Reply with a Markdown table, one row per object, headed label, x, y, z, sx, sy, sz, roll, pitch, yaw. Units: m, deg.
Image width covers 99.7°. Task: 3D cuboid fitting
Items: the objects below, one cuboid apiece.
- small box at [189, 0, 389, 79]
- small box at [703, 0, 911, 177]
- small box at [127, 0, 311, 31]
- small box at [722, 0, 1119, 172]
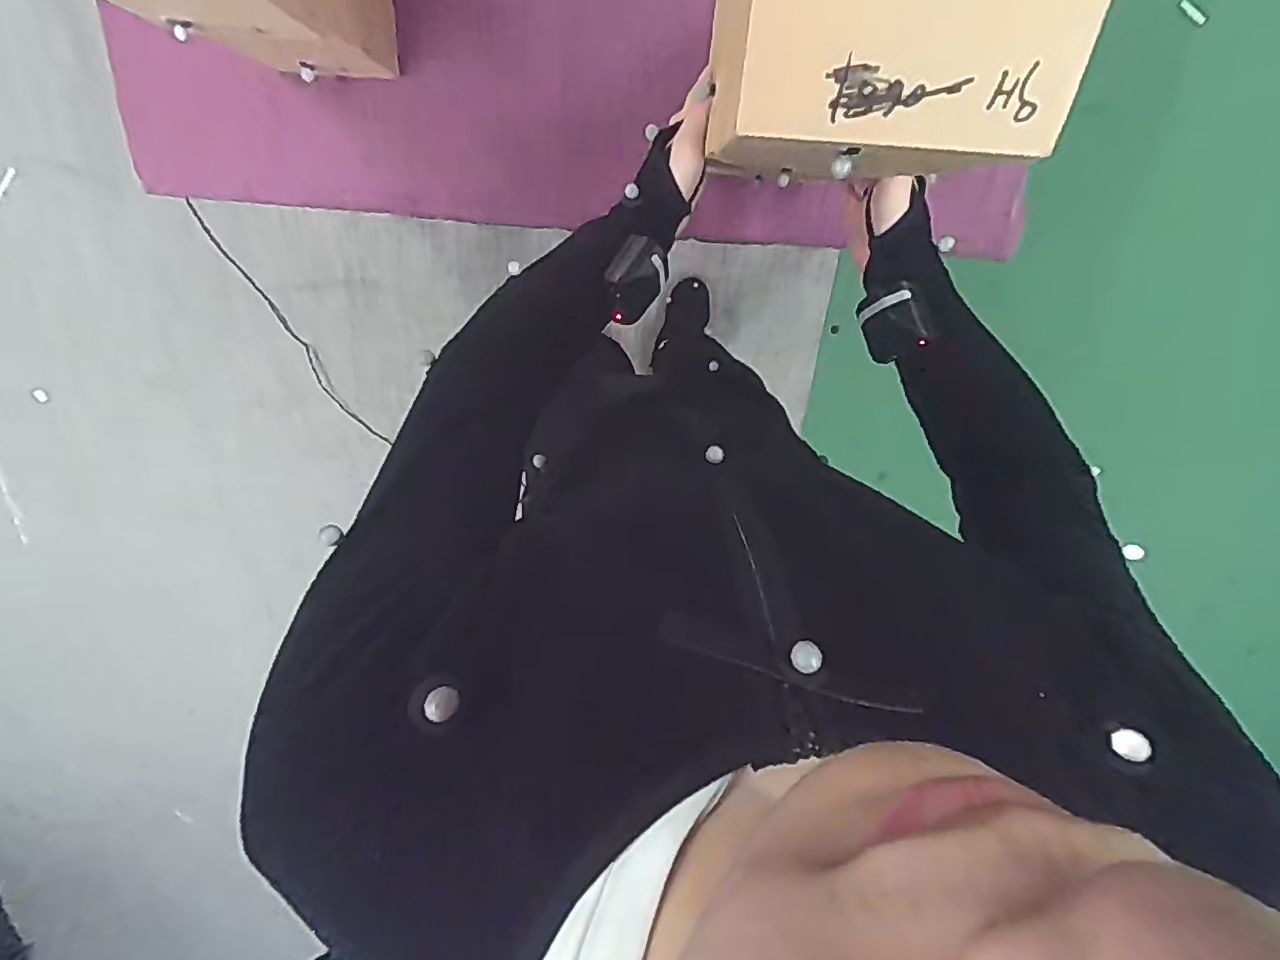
| label | x | y | z | sx | sy | sz | roll | pitch | yaw |
| --- | --- | --- | --- | --- | --- | --- | --- | --- | --- |
| small box | -0.391 | -0.568 | 0.580 | 0.168 | 0.176 | 0.179 | 4 | 112 | 0 |
| small box | 0.148 | -0.361 | 0.450 | 0.168 | 0.176 | 0.179 | 7 | 117 | -1 |
| small box | -0.395 | -0.499 | 0.432 | 0.168 | 0.176 | 0.179 | 4 | 111 | 0 |
| small box | 0.143 | -0.285 | 0.306 | 0.168 | 0.176 | 0.179 | 6 | 118 | 1 |
